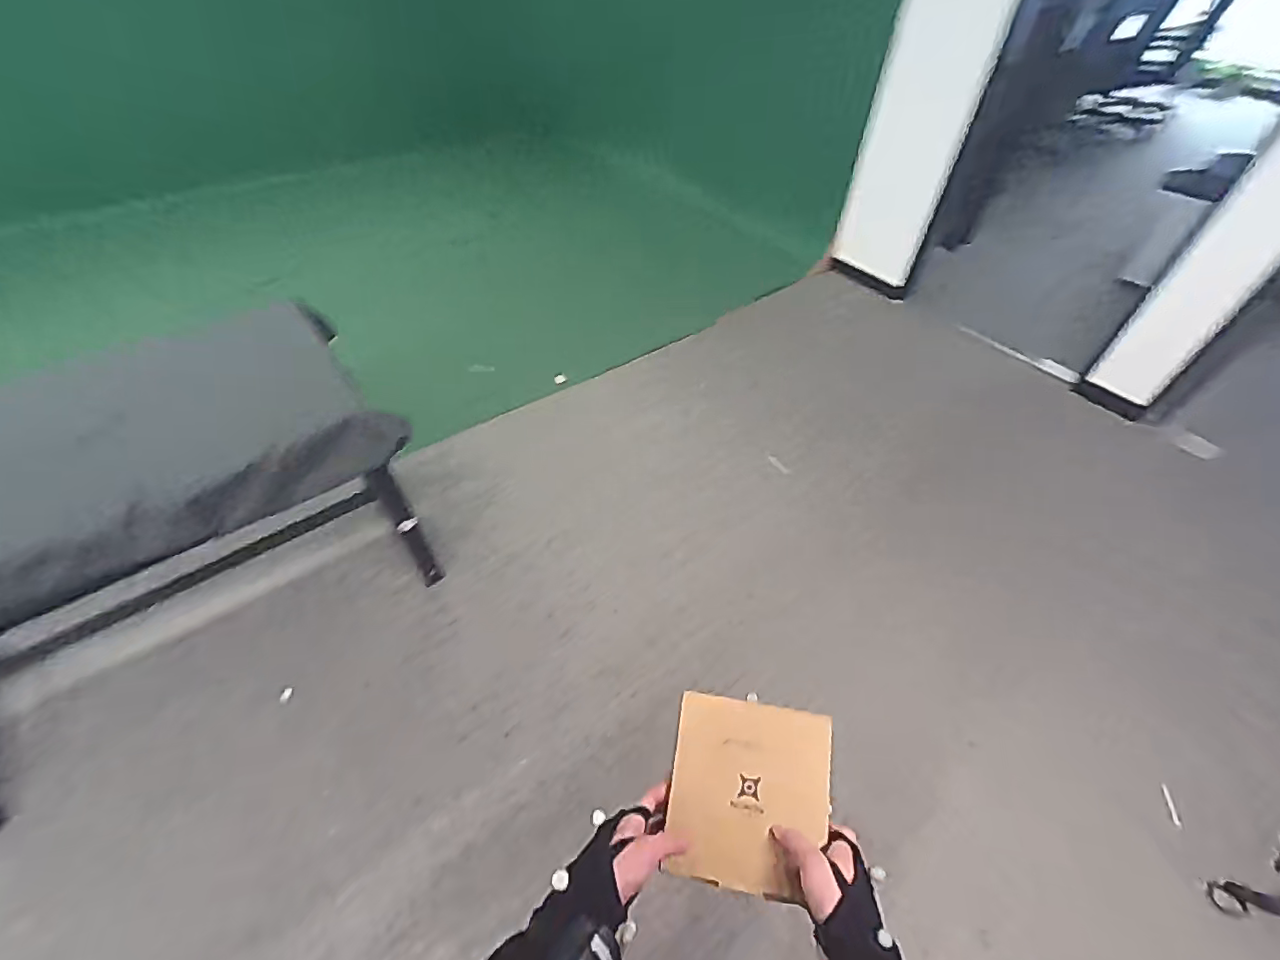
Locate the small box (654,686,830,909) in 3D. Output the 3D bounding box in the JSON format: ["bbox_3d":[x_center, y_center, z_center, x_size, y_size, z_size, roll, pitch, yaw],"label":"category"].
[{"bbox_3d":[0.112,0.348,0.623,0.168,0.176,0.179,8,66,6],"label":"small box"}]
